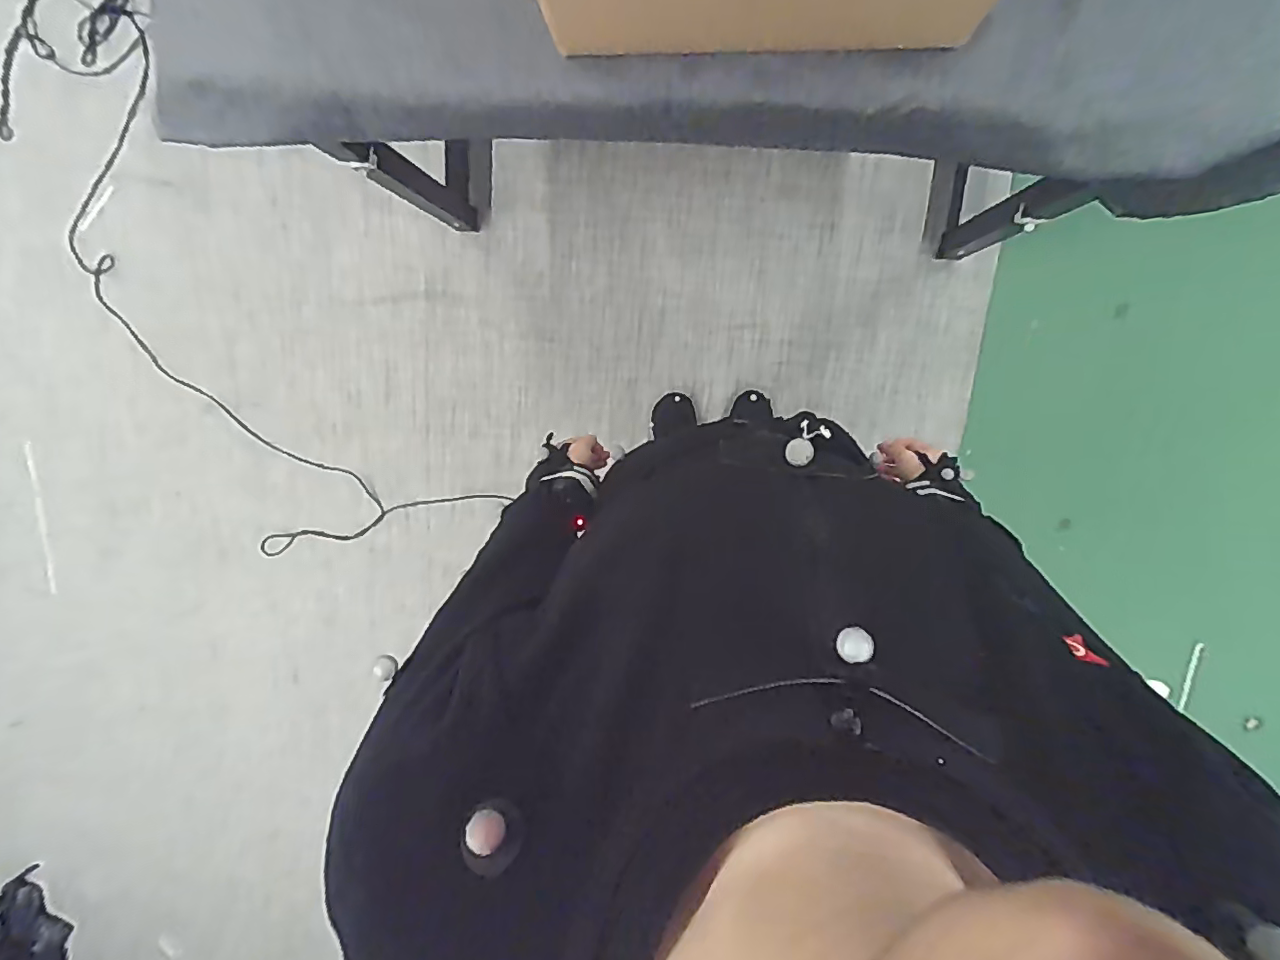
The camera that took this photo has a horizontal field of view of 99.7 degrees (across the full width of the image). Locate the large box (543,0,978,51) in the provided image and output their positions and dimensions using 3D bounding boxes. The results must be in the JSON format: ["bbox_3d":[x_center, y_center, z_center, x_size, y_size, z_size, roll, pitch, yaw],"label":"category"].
[{"bbox_3d":[0.101,-0.562,0.373,0.408,0.320,0.320,2,100,4],"label":"large box"}]
